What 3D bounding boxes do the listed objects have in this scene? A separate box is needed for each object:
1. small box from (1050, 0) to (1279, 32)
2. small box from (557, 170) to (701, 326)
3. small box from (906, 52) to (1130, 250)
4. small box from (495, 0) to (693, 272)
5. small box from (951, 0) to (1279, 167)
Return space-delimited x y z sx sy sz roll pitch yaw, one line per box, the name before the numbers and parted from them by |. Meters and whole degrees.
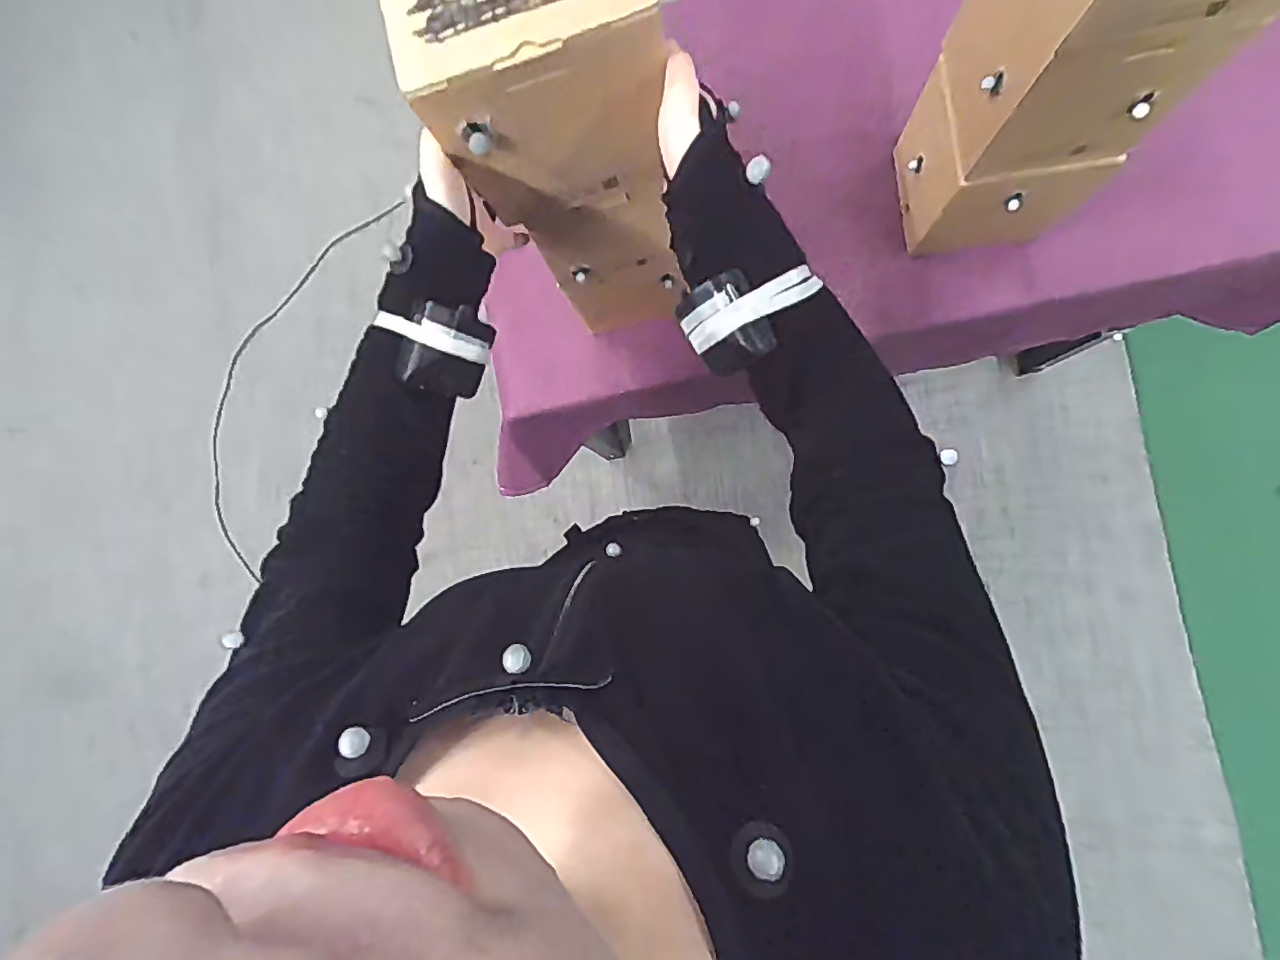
small box | 0.403 -0.447 0.360 0.168 0.176 0.179 -6 85 7
small box | -0.014 -0.327 0.743 0.179 0.176 0.168 -9 84 7
small box | 0.452 -0.412 0.682 0.179 0.176 0.168 -5 85 8
small box | -0.038 -0.345 0.582 0.168 0.176 0.179 -10 83 6
small box | 0.428 -0.434 0.522 0.168 0.176 0.179 -5 84 7
